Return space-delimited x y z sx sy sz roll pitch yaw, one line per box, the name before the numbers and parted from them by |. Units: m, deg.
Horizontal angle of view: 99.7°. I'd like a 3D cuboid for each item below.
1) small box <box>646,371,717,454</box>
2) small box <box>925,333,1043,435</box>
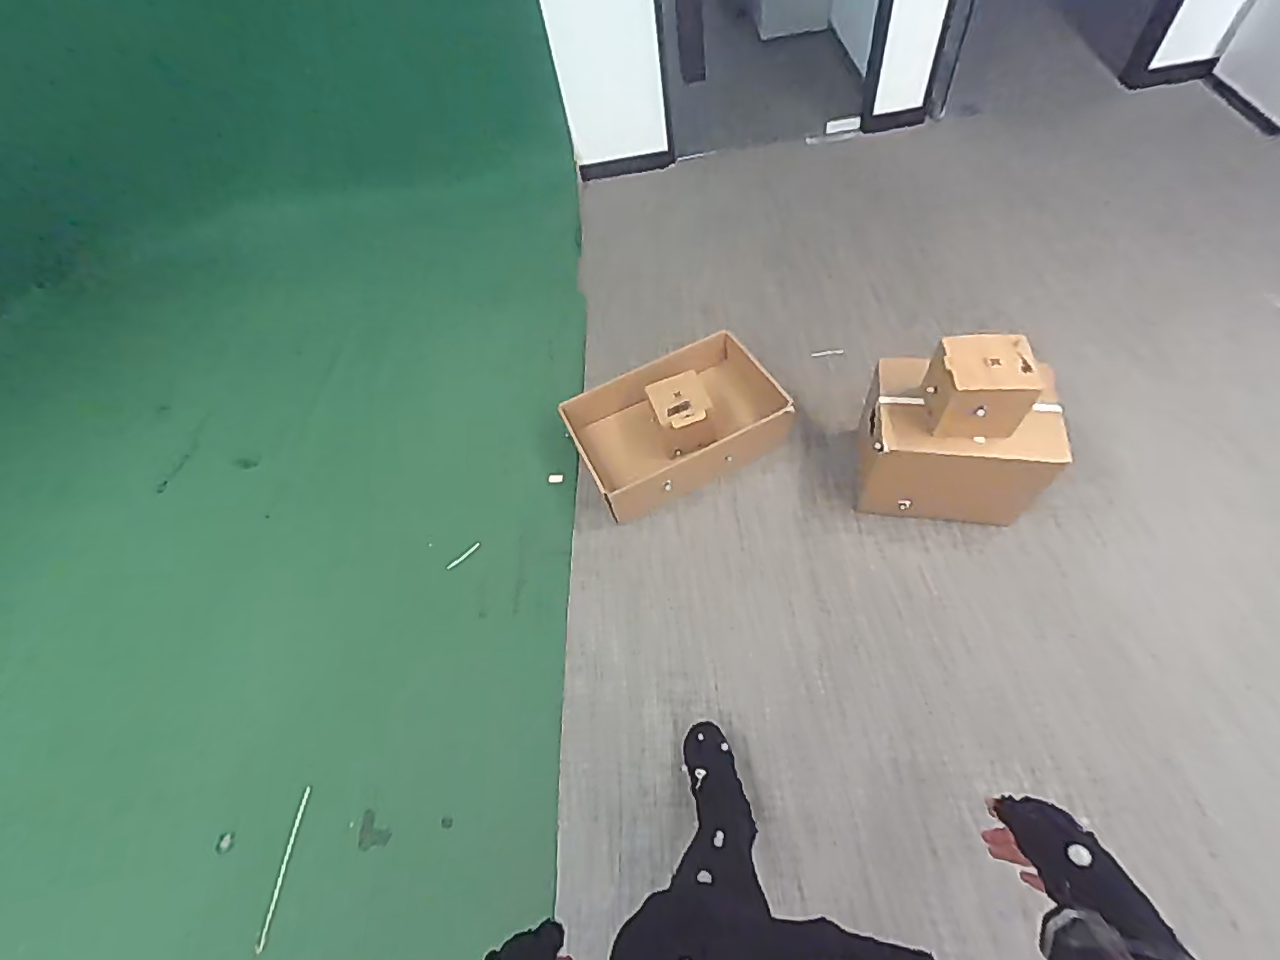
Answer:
small box | 0.133 -0.200 1.674 0.168 0.176 0.179 -20 54 -2
small box | 0.777 -0.216 1.247 0.179 0.176 0.168 0 58 11
